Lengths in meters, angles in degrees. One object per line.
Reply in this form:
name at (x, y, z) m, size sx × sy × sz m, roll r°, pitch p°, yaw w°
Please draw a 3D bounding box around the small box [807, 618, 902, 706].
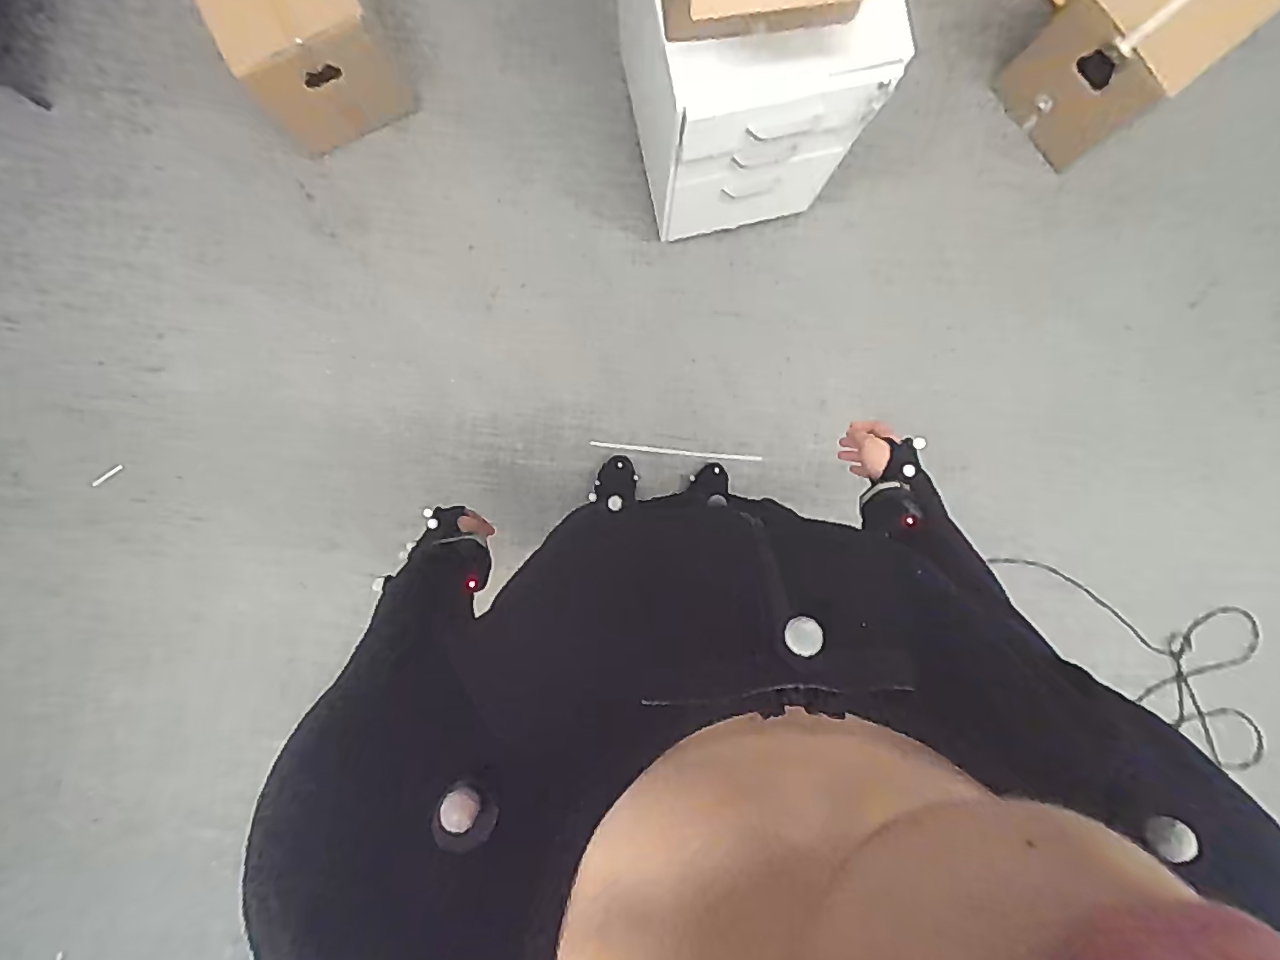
small box at (0.560, 0.475, 1.434) m, size 0.179 × 0.176 × 0.168 m, roll 7°, pitch 93°, yaw -1°
